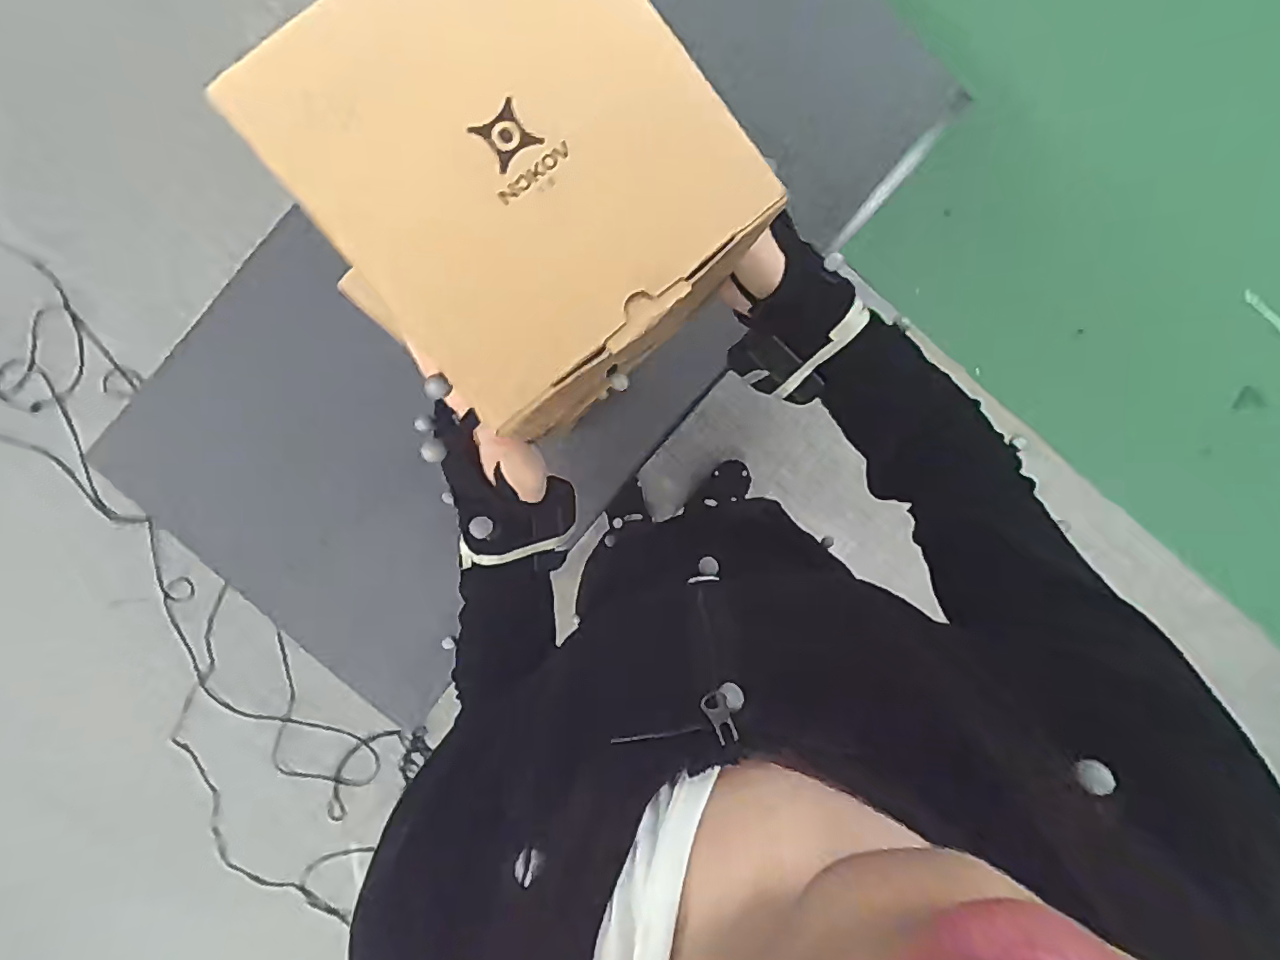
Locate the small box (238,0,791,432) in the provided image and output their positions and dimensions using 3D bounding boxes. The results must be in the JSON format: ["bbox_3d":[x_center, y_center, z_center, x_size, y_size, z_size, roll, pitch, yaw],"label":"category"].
[{"bbox_3d":[-0.056,-0.139,0.307,0.168,0.176,0.179,-40,97,-2],"label":"small box"}]
